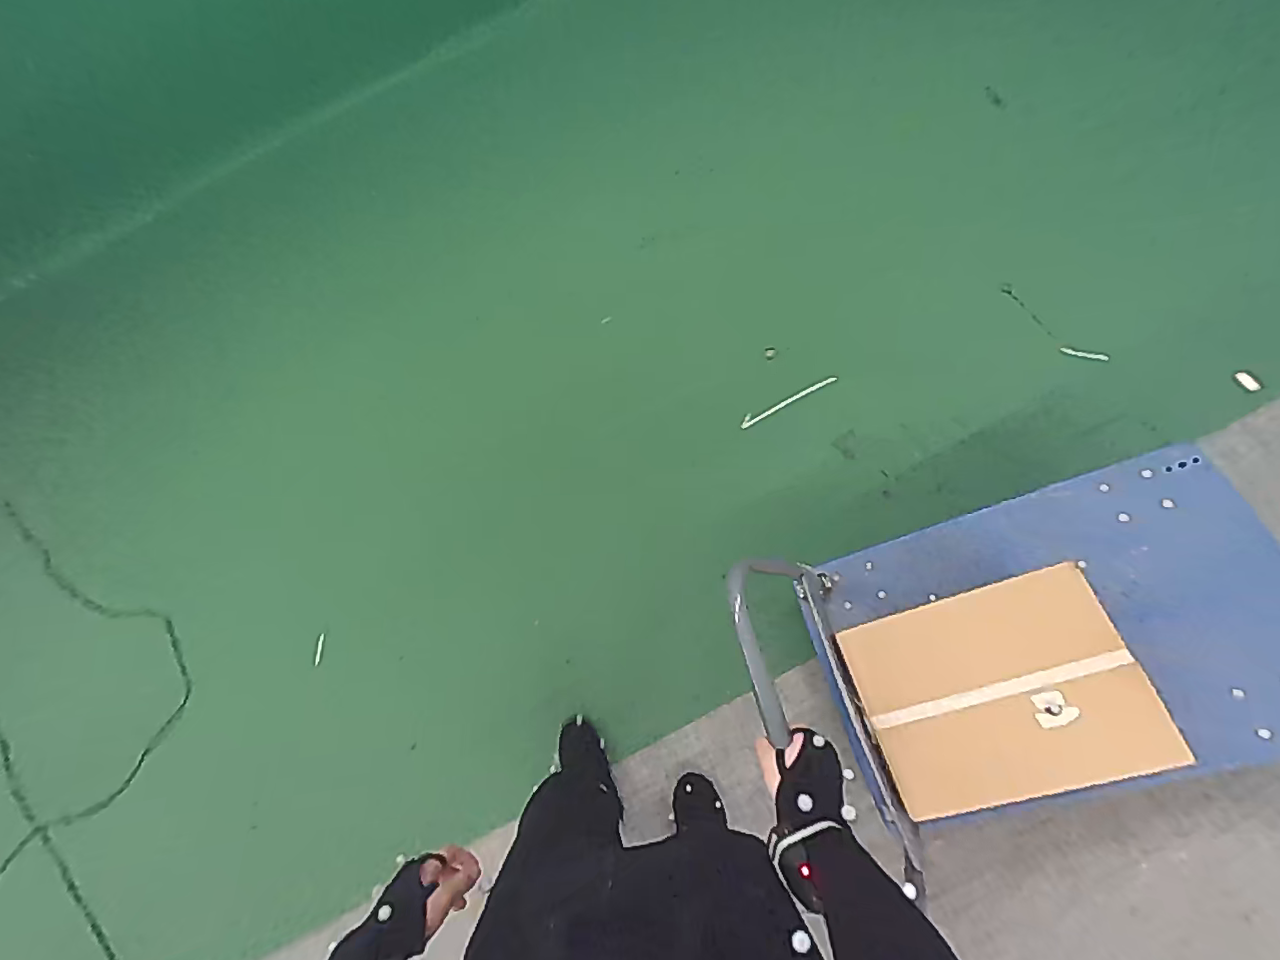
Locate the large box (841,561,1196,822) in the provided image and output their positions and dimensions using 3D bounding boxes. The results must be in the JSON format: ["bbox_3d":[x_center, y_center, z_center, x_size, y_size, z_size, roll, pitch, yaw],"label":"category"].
[{"bbox_3d":[0.633,0.384,1.008,0.408,0.320,0.320,-22,67,14],"label":"large box"}]
